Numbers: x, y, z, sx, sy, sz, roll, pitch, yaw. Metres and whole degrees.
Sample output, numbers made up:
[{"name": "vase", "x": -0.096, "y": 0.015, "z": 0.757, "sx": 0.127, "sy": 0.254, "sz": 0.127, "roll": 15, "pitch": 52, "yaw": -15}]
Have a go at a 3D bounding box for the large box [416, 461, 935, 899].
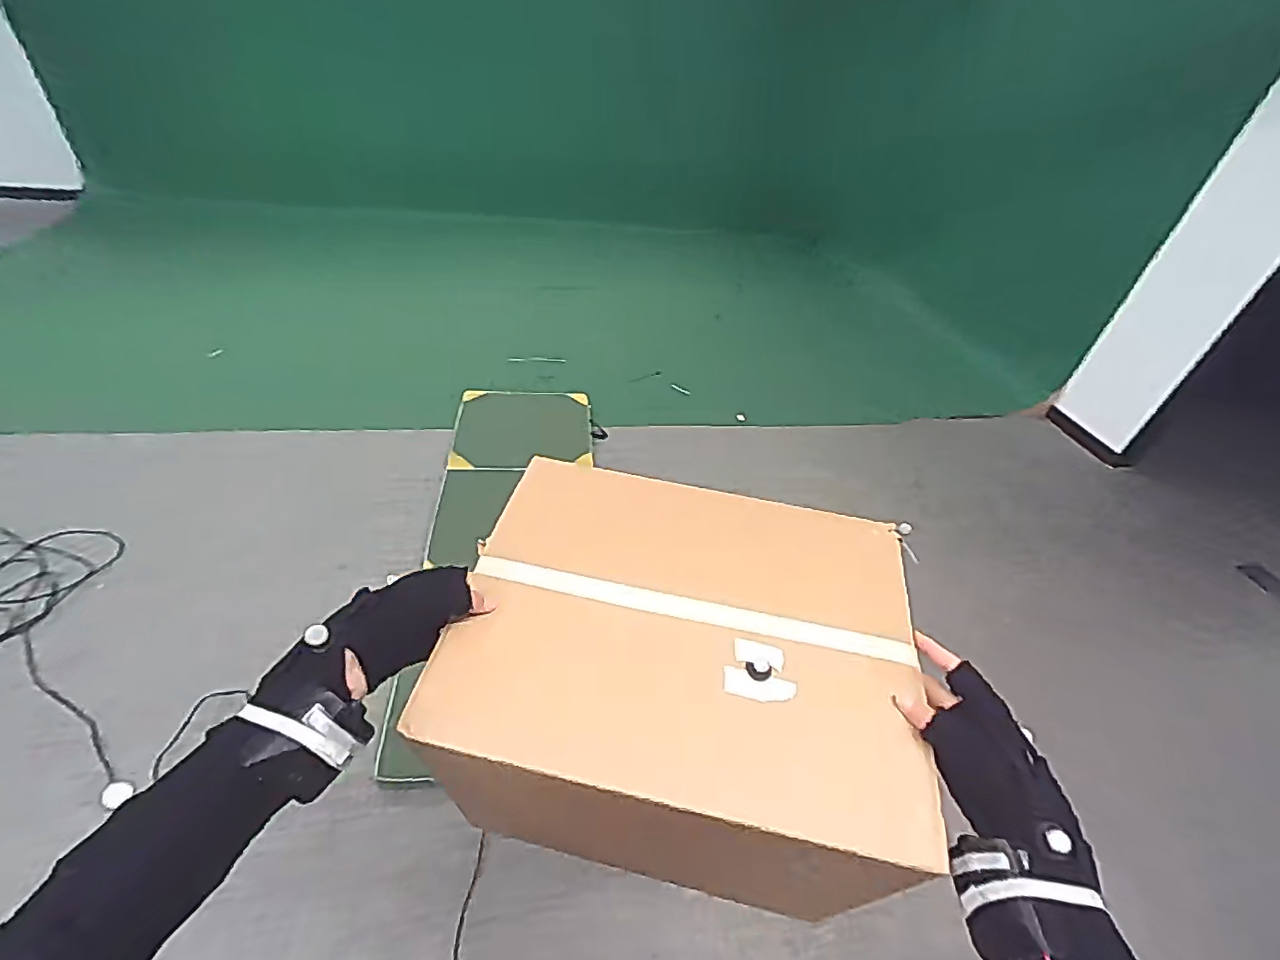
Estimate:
[{"name": "large box", "x": 0.034, "y": 0.221, "z": 0.610, "sx": 0.408, "sy": 0.320, "sz": 0.320, "roll": 11, "pitch": 47, "yaw": 5}]
